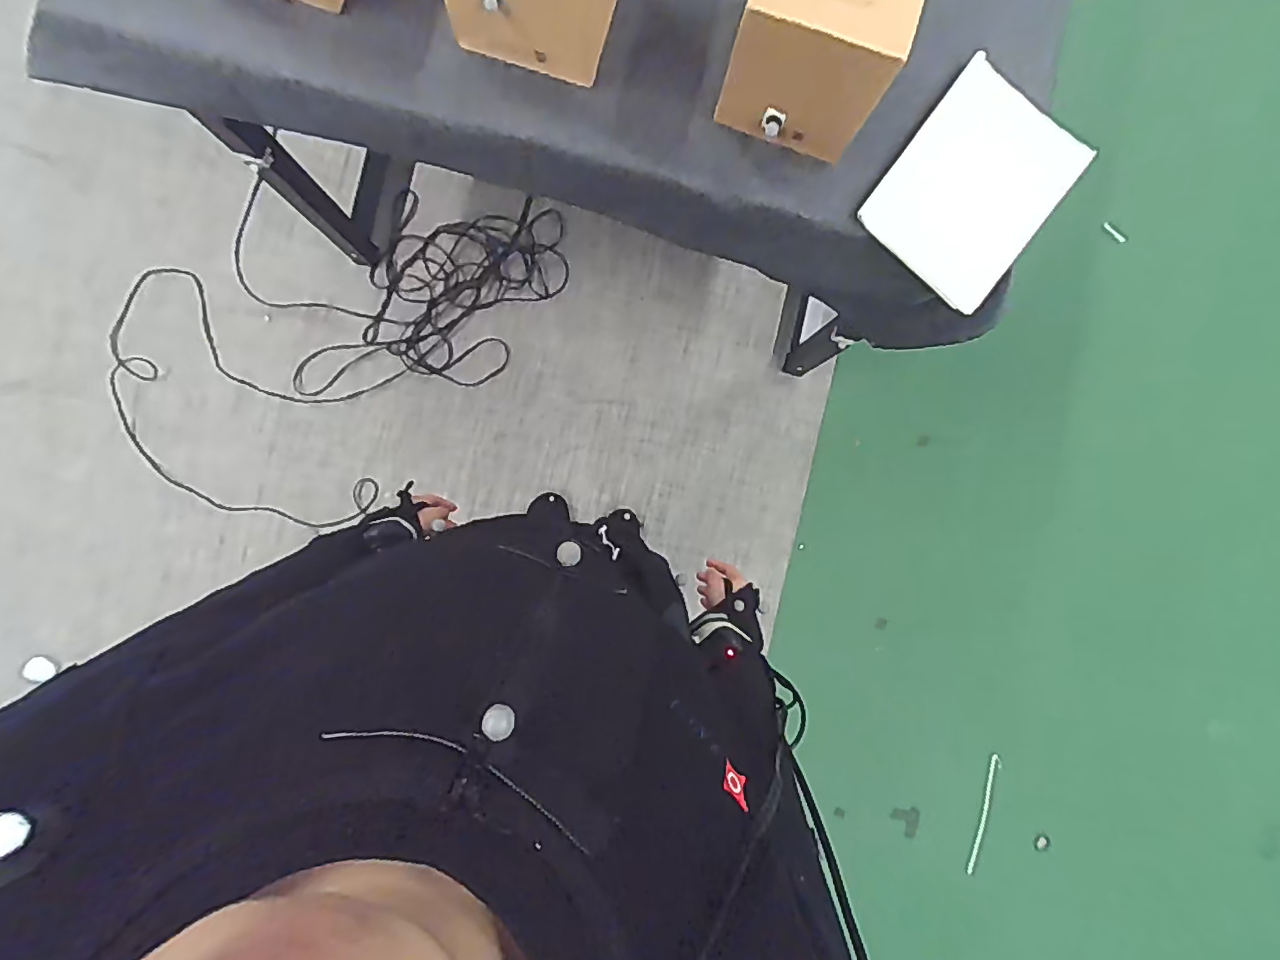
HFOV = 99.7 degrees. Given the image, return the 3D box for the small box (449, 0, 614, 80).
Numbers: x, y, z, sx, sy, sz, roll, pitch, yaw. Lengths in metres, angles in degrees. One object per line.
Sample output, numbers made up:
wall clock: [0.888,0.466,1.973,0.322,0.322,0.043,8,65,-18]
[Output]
small box: [-0.112,-0.581,0.574,0.168,0.176,0.179,15,87,-3]

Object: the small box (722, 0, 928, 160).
small box: [0.199,-0.502,0.592,0.168,0.176,0.179,16,89,-2]
